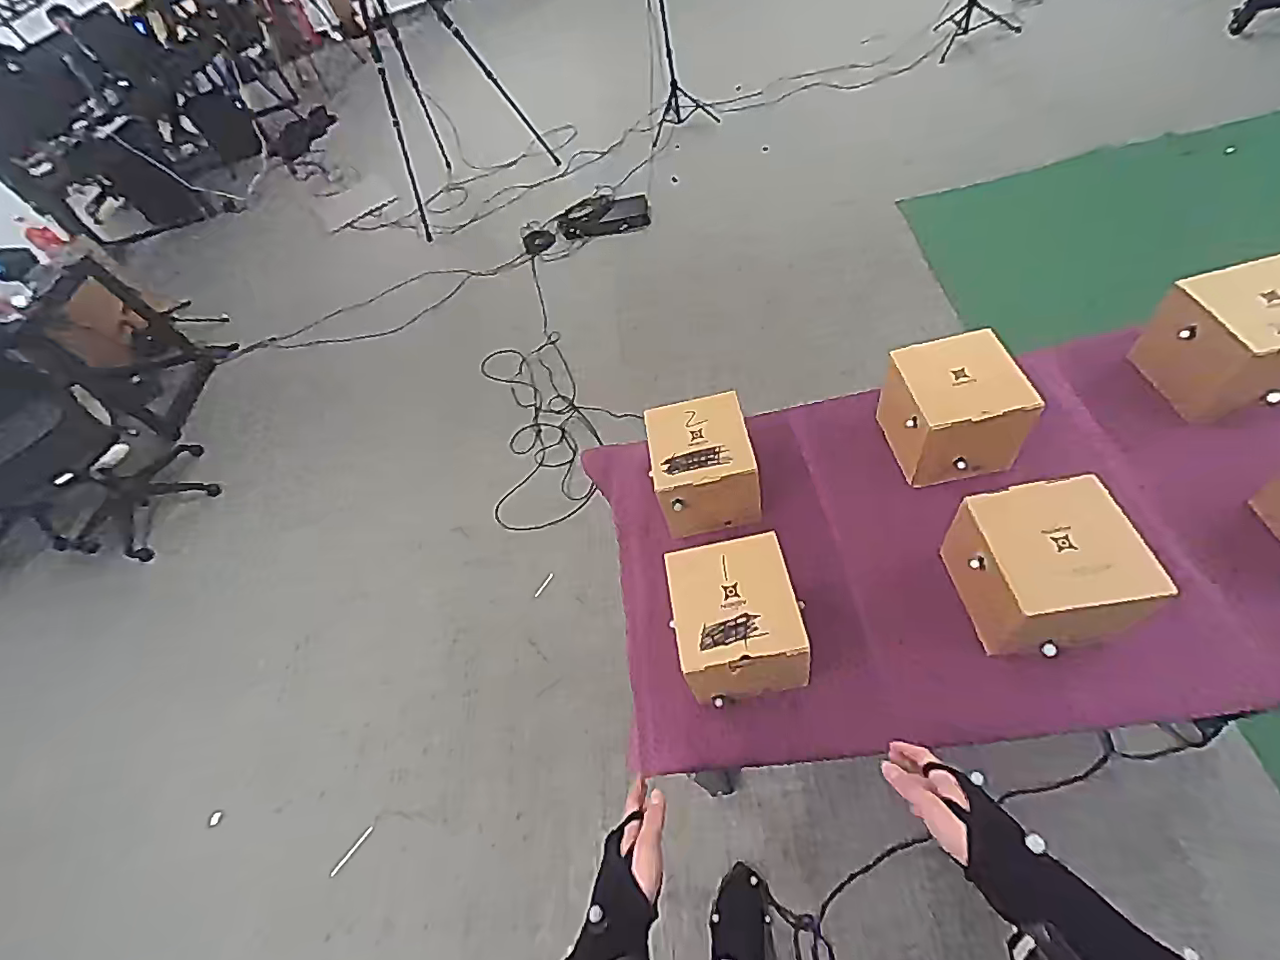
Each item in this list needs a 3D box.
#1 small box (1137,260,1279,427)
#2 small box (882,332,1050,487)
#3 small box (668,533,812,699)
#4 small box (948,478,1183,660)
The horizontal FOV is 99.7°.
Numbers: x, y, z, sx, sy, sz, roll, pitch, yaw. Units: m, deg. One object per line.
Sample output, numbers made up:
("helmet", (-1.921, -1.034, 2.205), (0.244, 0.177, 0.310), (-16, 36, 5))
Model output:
("small box", (0.955, -0.212, 0.855), (0.168, 0.176, 0.179), (-13, 54, 10))
("small box", (0.527, -0.114, 0.910), (0.168, 0.176, 0.179), (-12, 55, 6))
("small box", (0.144, 0.205, 0.783), (0.168, 0.176, 0.179), (-12, 52, 6))
("small box", (0.548, 0.125, 0.734), (0.168, 0.176, 0.179), (-11, 53, 9))
